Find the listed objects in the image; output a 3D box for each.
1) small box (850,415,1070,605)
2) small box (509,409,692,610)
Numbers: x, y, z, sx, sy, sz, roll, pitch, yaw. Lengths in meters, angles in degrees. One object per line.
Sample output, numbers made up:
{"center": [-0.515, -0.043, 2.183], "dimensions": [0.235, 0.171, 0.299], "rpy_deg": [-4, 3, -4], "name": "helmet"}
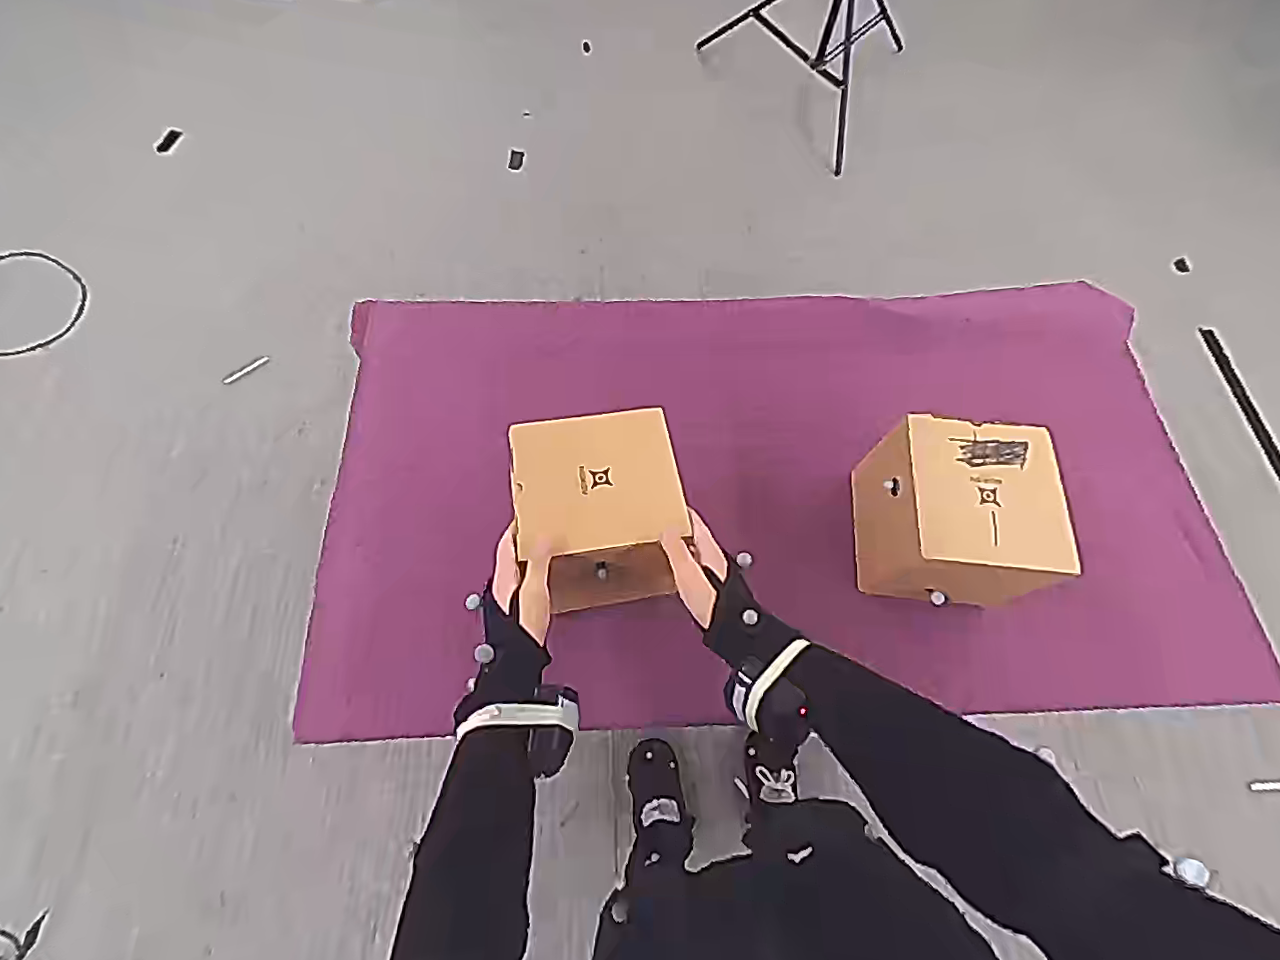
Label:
{"center": [0.371, 0.044, 0.666], "dimensions": [0.168, 0.176, 0.179], "rpy_deg": [6, 67, 1], "name": "small box"}
{"center": [-0.049, 0.040, 0.636], "dimensions": [0.179, 0.176, 0.168], "rpy_deg": [-8, 59, -6], "name": "small box"}
